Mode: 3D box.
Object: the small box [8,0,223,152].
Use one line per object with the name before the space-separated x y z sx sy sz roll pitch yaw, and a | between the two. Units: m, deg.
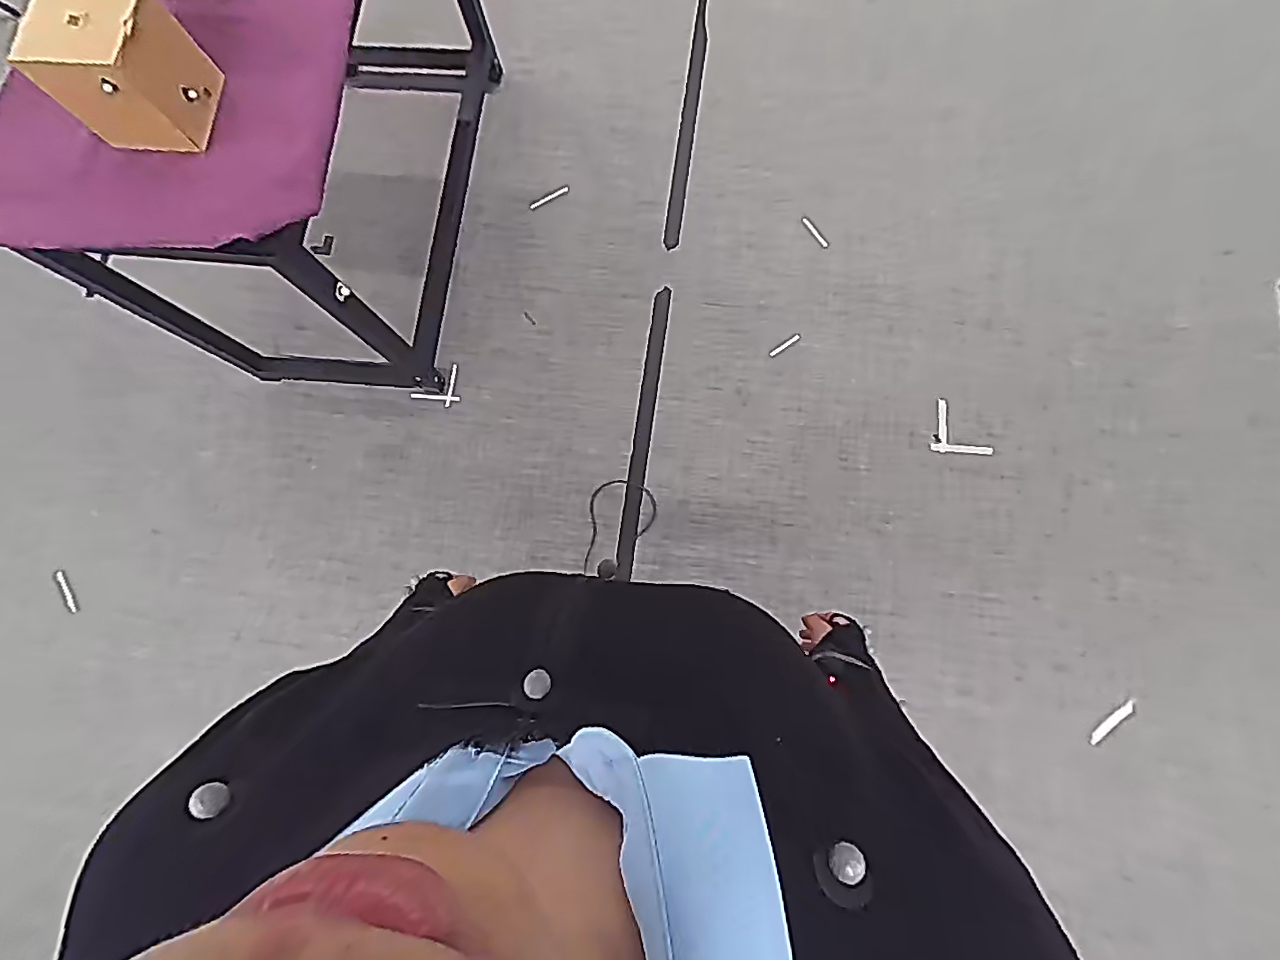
small box | -0.866 -0.688 0.912 0.179 0.176 0.168 4 78 2
